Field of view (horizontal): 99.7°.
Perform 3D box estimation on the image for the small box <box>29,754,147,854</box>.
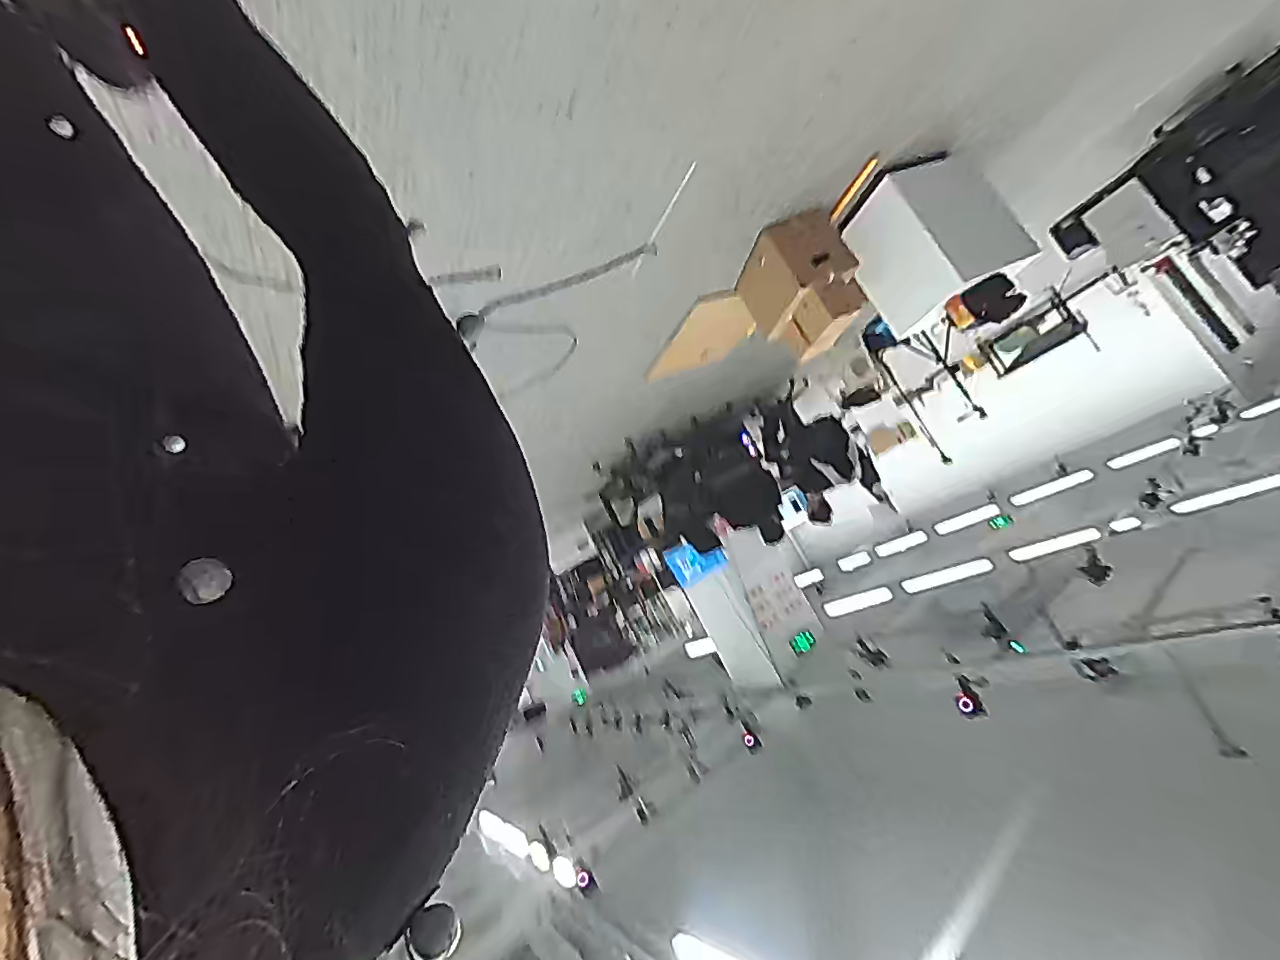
[{"bbox_3d":[-1.504,0.875,1.480,0.168,0.176,0.179,-22,167,-33],"label":"small box"}]
